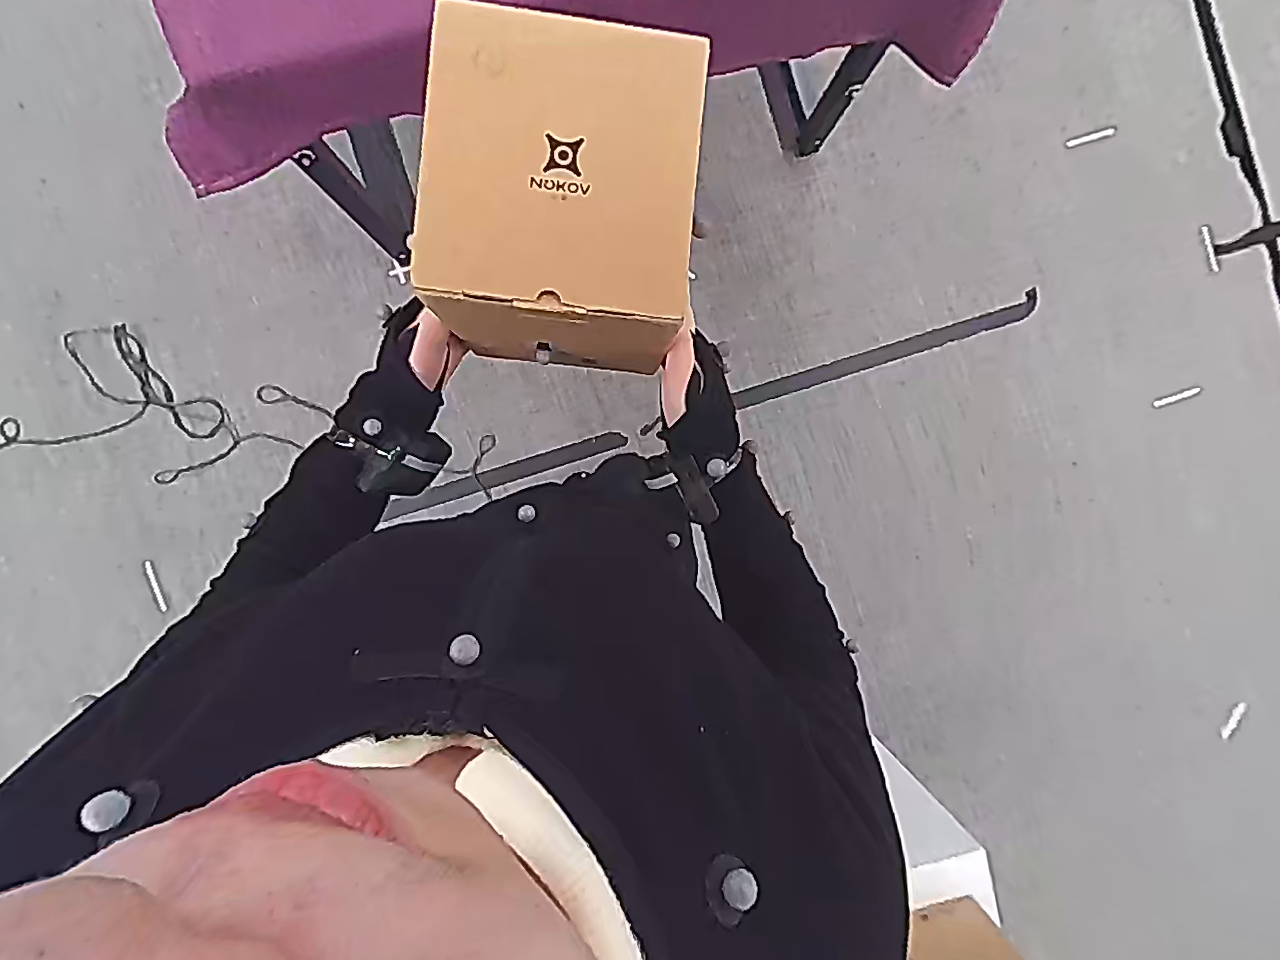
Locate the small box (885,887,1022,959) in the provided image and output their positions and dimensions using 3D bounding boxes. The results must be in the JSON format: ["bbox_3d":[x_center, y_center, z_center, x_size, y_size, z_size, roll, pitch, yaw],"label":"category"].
[{"bbox_3d":[0.541,0.845,0.910,0.168,0.176,0.179,-12,95,-4],"label":"small box"}]

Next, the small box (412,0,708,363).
[{"bbox_3d":[-0.054,-0.197,0.404,0.168,0.176,0.179,5,92,-5],"label":"small box"}]
